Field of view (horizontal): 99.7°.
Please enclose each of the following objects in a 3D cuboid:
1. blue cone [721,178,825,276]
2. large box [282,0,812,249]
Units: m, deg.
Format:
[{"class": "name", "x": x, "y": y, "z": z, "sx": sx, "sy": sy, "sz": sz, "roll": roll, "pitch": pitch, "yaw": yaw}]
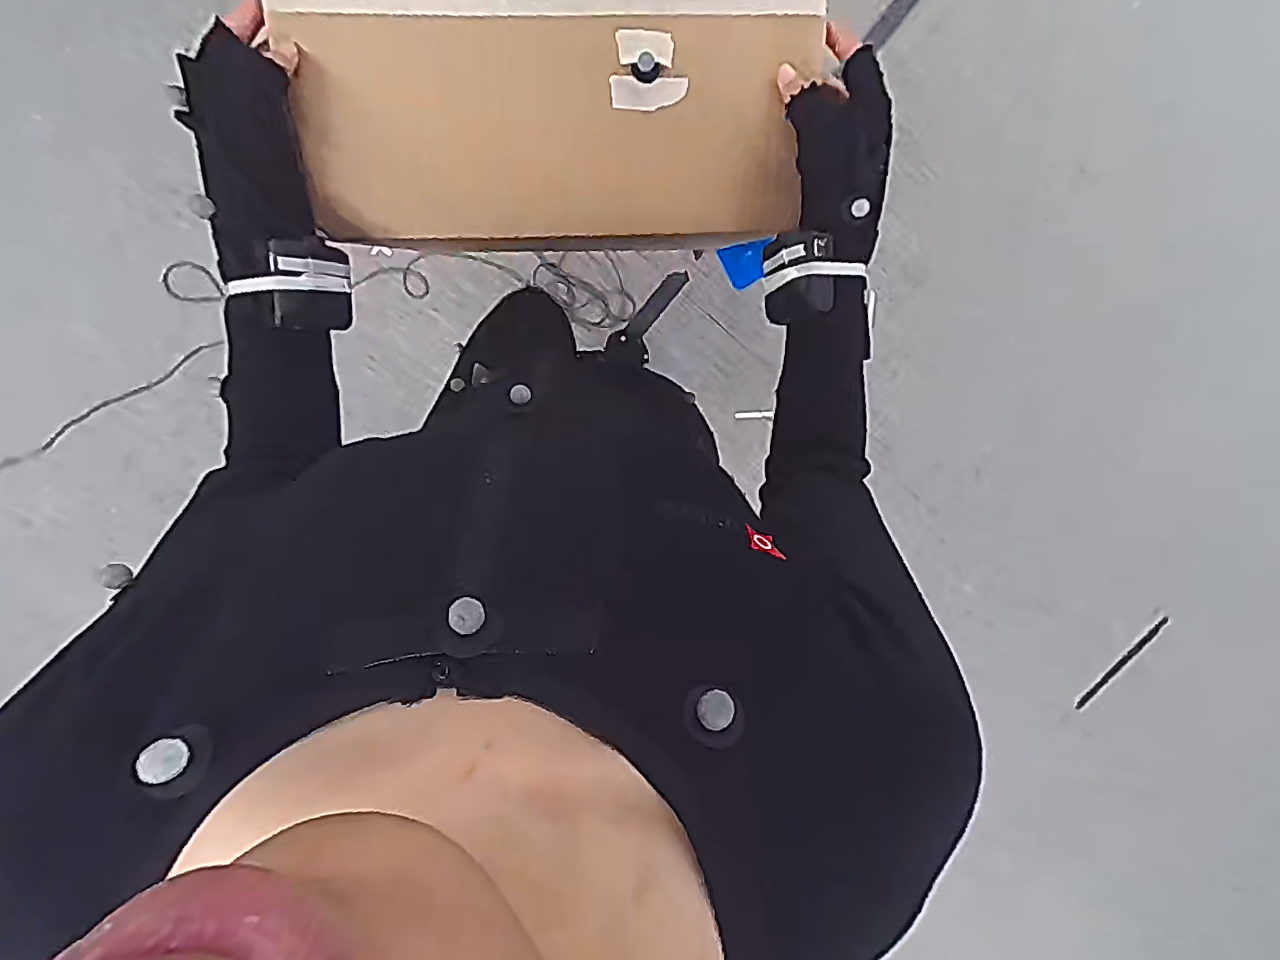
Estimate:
[{"class": "blue cone", "x": 0.313, "y": -0.594, "z": 1.202, "sx": 0.192, "sy": 0.380, "sz": 0.193, "roll": -29, "pitch": 104, "yaw": 3}, {"class": "large box", "x": -0.077, "y": -0.415, "z": 0.541, "sx": 0.408, "sy": 0.320, "sz": 0.320, "roll": -3, "pitch": 112, "yaw": -4}]
